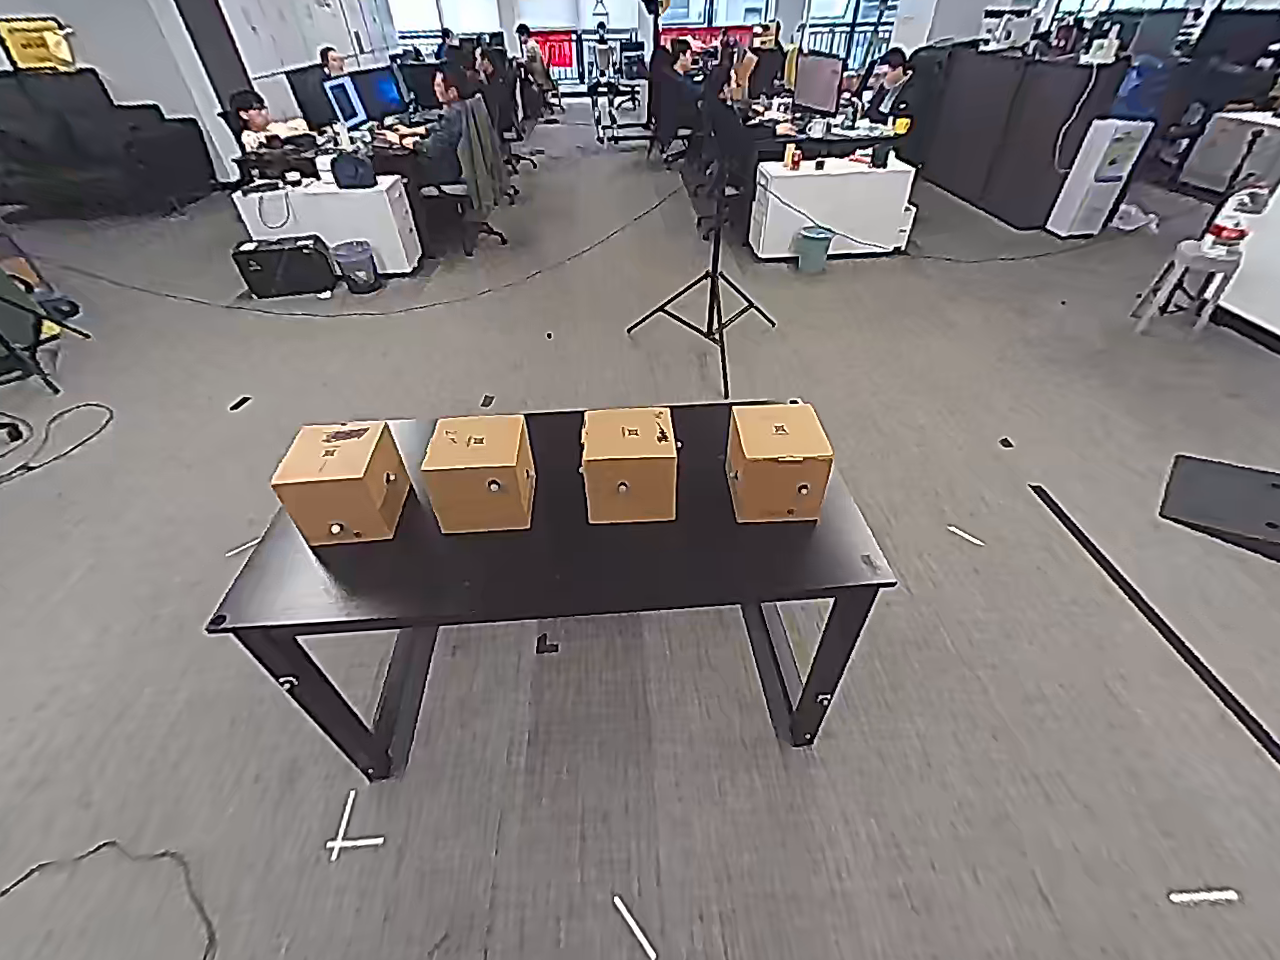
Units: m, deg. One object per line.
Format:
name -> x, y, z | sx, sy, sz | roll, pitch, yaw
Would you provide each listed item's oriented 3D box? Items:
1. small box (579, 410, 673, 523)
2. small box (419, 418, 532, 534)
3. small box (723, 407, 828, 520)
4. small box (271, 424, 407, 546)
small box -> -0.025, -0.025, 1.104 | 0.179, 0.176, 0.168 | -3, 41, -1
small box -> -0.318, -0.008, 1.091 | 0.179, 0.176, 0.168 | -4, 41, -3
small box -> 0.265, -0.030, 1.100 | 0.168, 0.176, 0.179 | -2, 40, -1
small box -> -0.584, 0.010, 1.079 | 0.168, 0.176, 0.179 | -5, 42, -4
